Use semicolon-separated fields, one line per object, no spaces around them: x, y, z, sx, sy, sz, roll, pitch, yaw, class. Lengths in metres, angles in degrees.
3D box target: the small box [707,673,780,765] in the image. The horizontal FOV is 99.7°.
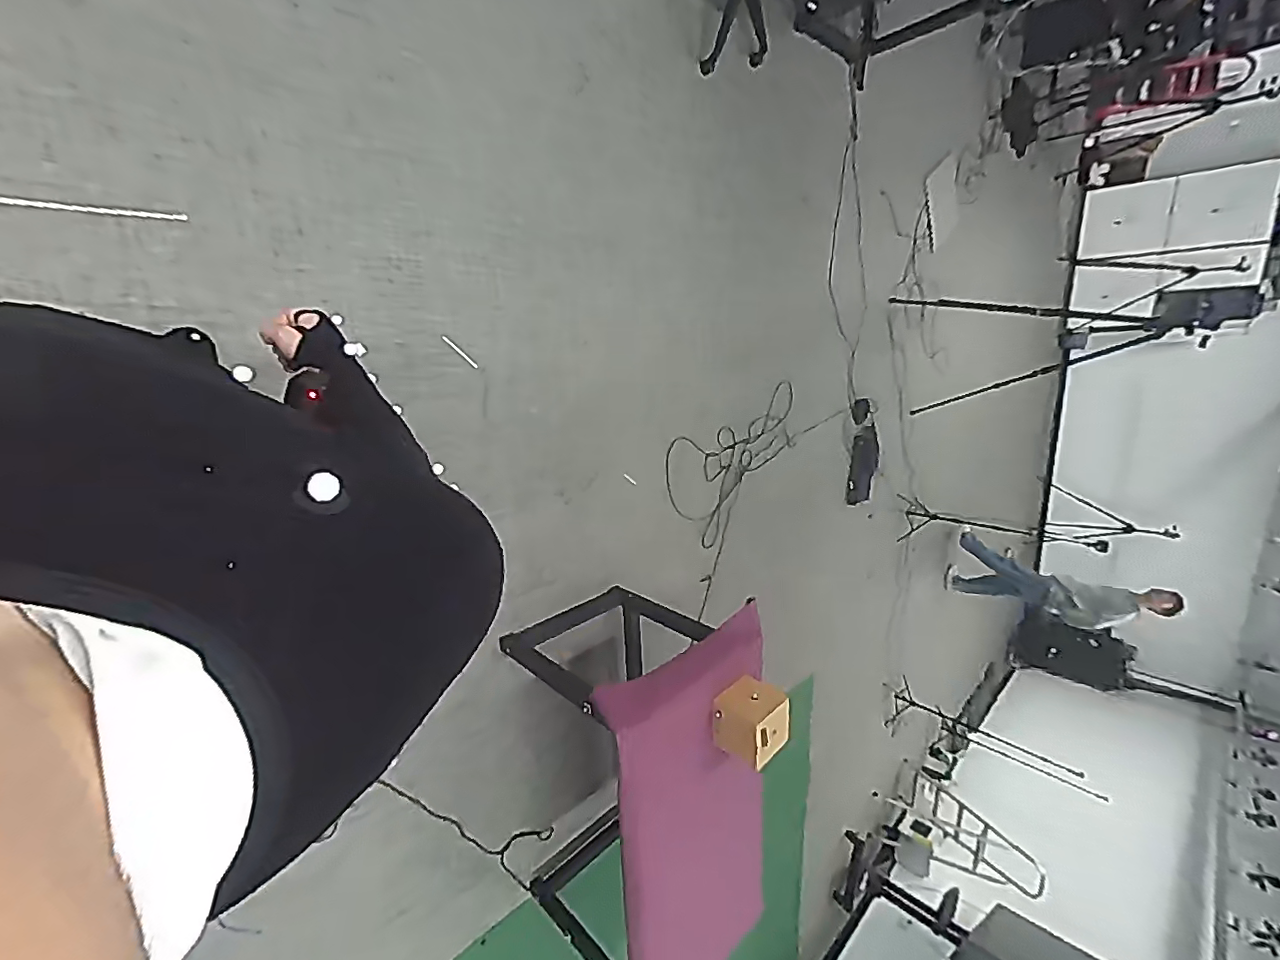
0.322;0.742;1.697;0.179;0.176;0.168;-17;111;-42;small box
